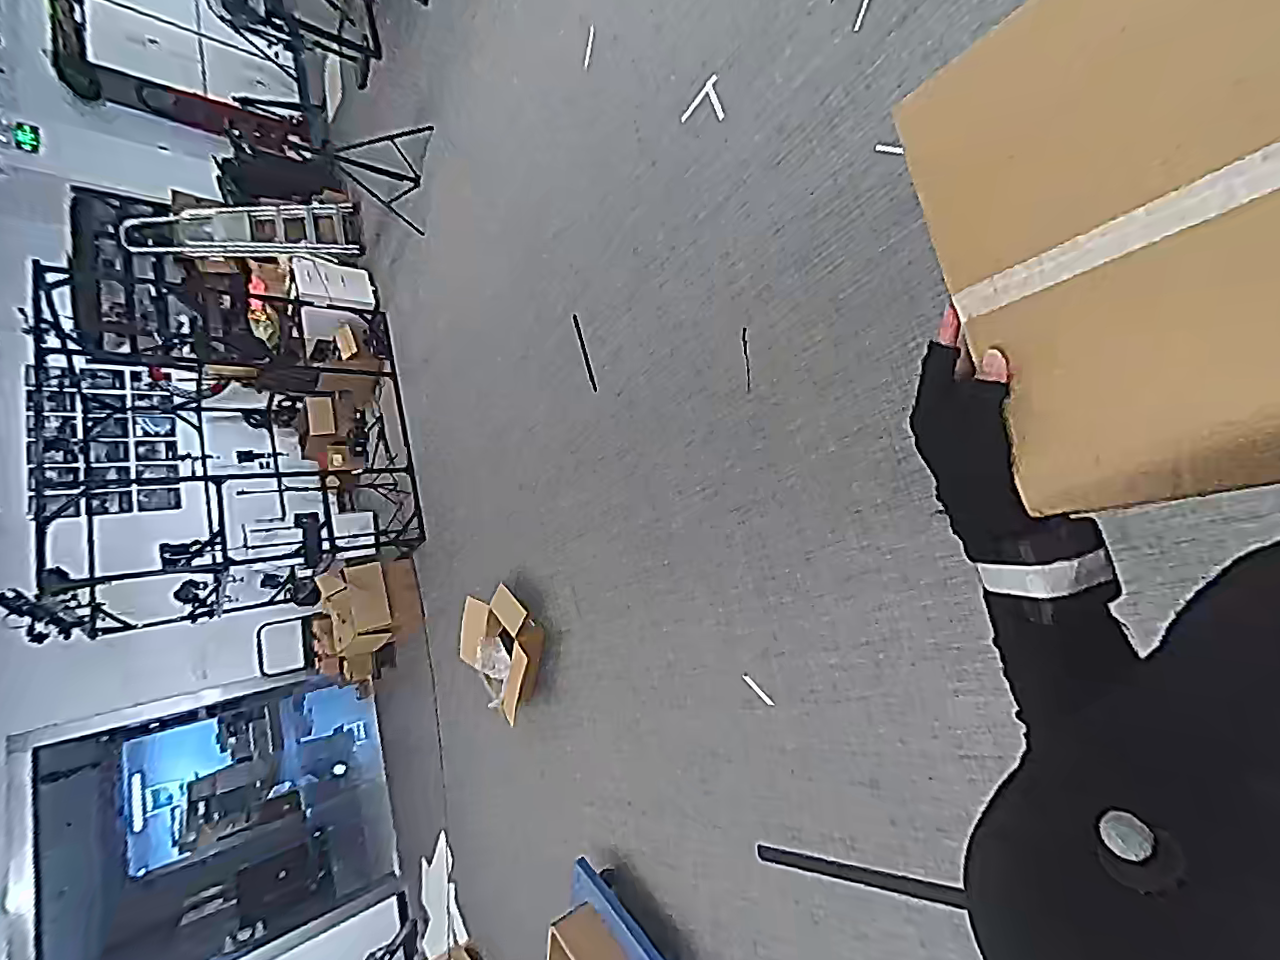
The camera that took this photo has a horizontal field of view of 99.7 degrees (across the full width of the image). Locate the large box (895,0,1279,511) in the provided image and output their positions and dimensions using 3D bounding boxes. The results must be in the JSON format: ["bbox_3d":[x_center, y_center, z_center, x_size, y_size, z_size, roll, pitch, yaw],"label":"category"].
[{"bbox_3d":[0.463,-0.196,0.338,0.408,0.320,0.320,-21,82,51],"label":"large box"}]
